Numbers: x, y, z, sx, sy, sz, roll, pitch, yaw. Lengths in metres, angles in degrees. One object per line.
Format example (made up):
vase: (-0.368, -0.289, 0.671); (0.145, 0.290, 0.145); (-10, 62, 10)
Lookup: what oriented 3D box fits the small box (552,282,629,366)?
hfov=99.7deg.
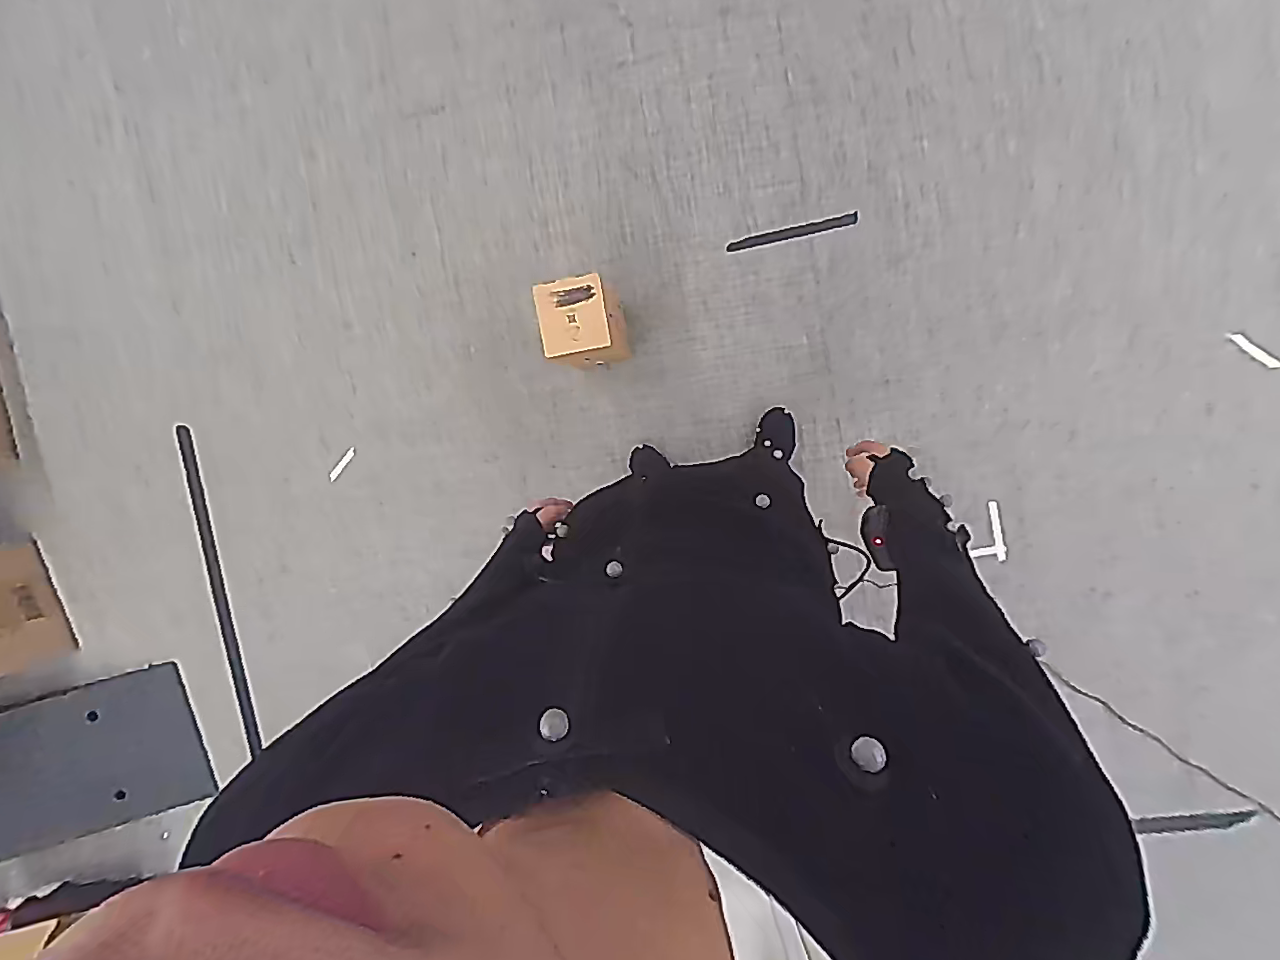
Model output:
small box: (-0.133, -0.430, 1.517); (0.168, 0.176, 0.179); (-12, 94, 7)
